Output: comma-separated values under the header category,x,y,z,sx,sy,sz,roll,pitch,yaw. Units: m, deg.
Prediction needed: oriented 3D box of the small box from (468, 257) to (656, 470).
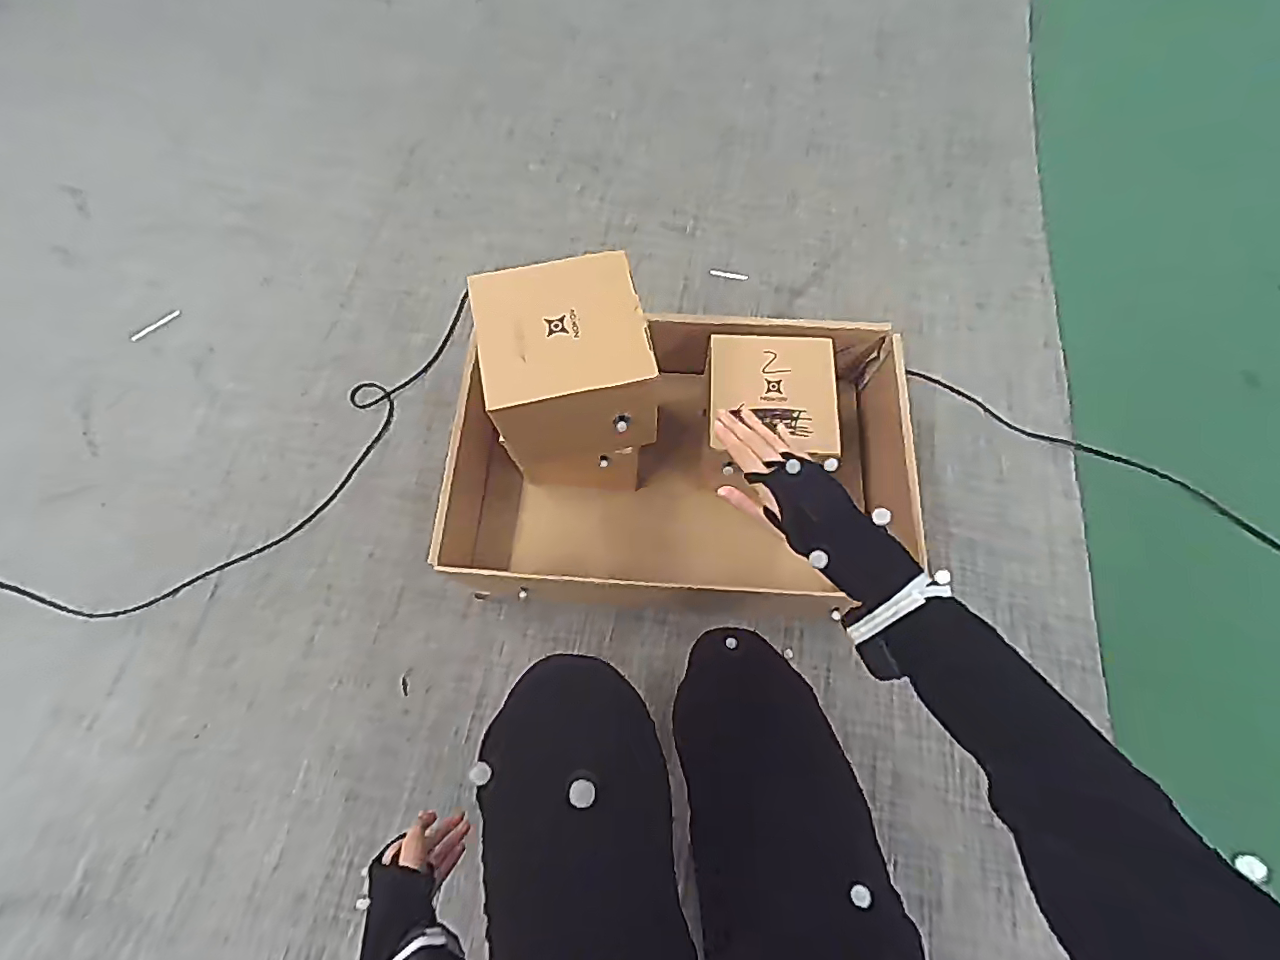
category,x,y,z,sx,sy,sz,roll,pitch,yaw
small box,-0.084,-0.126,0.633,0.179,0.176,0.168,-12,71,-3

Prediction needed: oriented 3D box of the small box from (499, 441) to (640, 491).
category,x,y,z,sx,sy,sz,roll,pitch,yaw
small box,-0.089,-0.088,0.792,0.179,0.176,0.168,4,71,1
